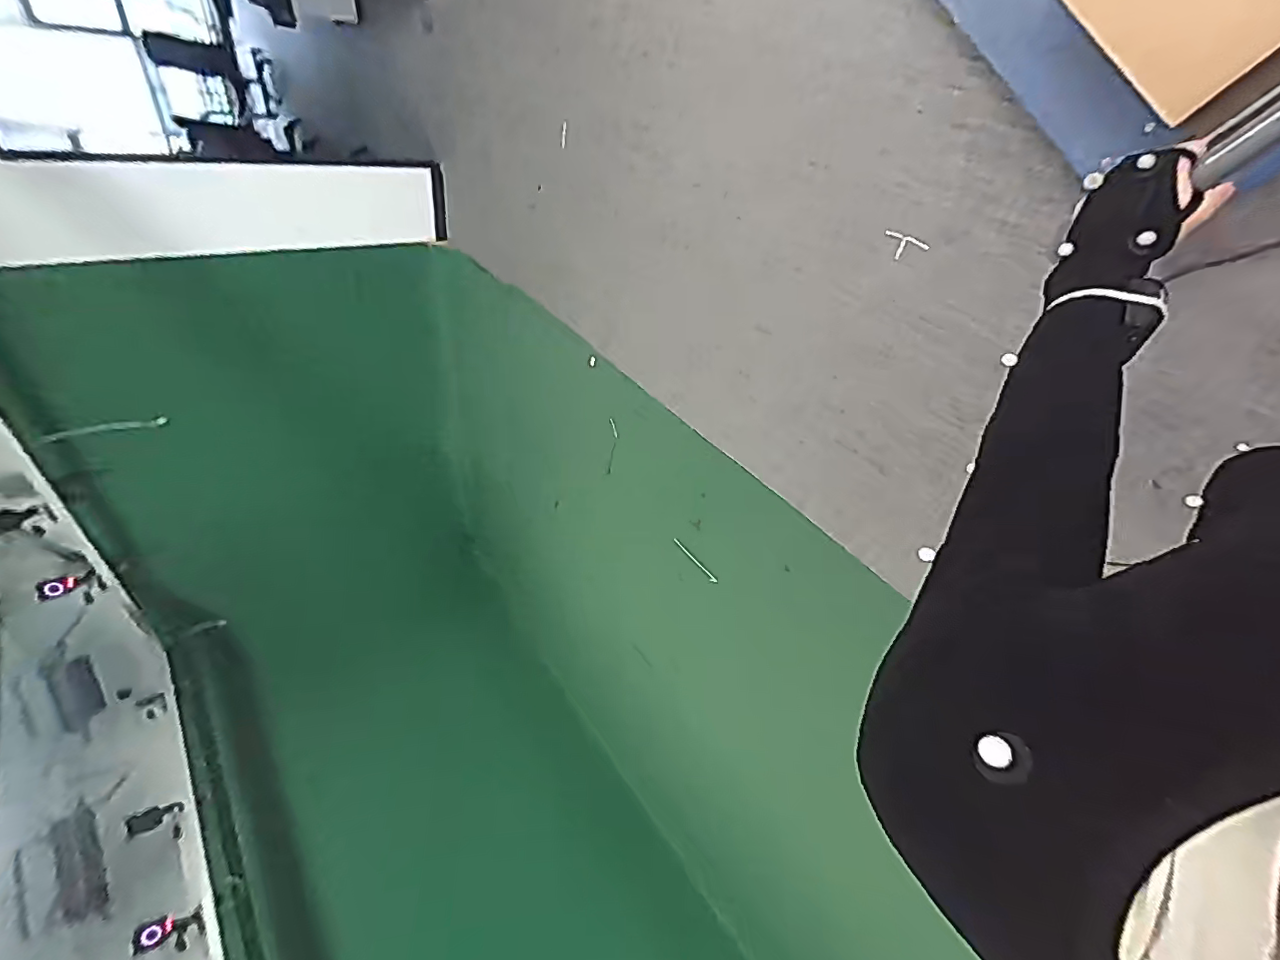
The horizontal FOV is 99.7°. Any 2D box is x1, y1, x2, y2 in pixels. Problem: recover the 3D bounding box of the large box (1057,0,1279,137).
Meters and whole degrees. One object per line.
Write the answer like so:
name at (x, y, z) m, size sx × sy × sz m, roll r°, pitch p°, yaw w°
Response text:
large box at (0.829, -0.758, 0.743) m, size 0.408 × 0.320 × 0.320 m, roll 62°, pitch 144°, yaw 11°
